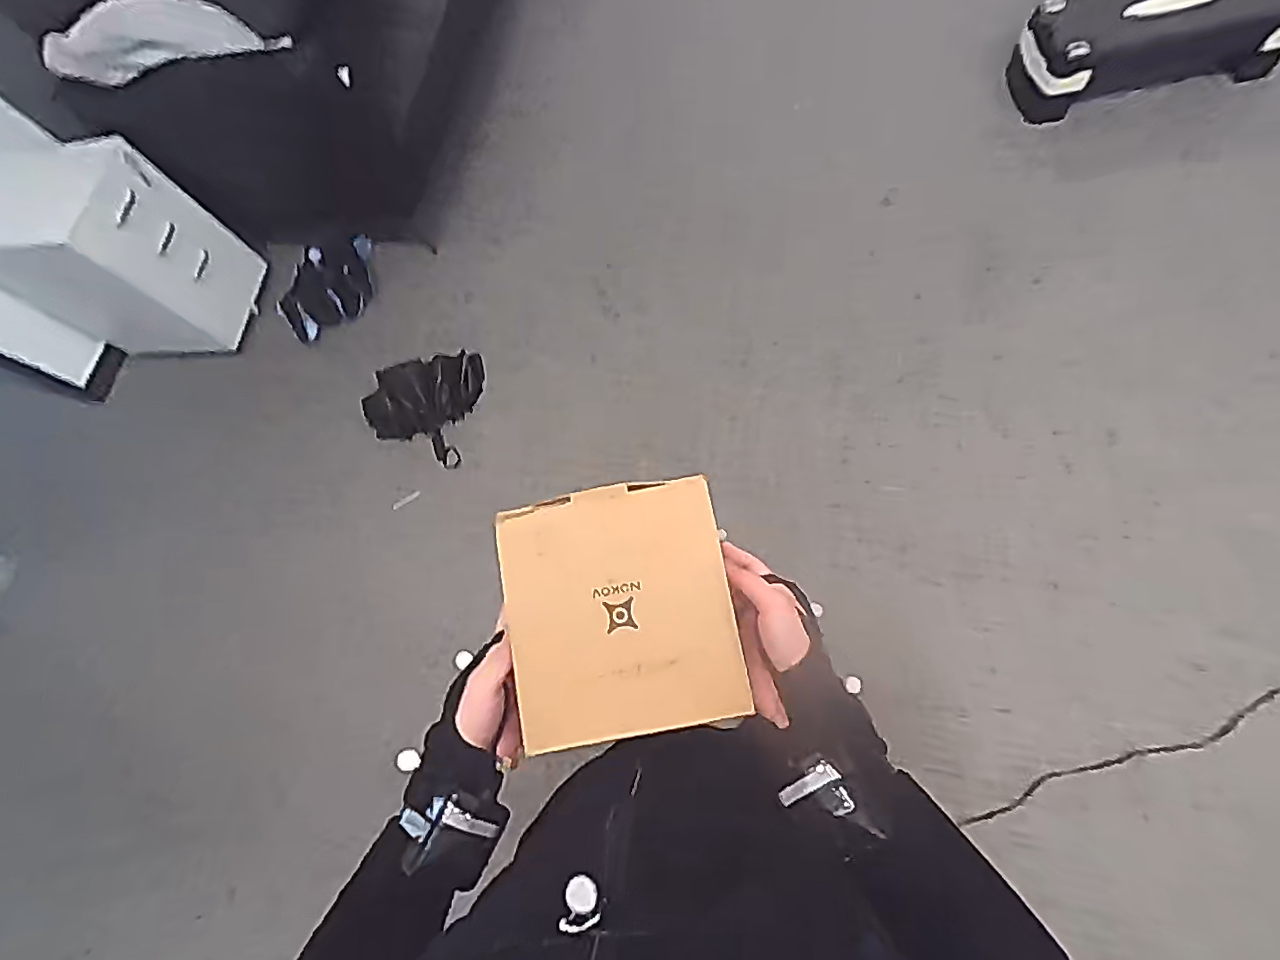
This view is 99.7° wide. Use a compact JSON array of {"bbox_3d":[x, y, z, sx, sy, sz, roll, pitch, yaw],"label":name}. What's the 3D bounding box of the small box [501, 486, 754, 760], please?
[{"bbox_3d":[-0.010,0.115,0.472,0.168,0.176,0.179,-10,80,1],"label":"small box"}]
